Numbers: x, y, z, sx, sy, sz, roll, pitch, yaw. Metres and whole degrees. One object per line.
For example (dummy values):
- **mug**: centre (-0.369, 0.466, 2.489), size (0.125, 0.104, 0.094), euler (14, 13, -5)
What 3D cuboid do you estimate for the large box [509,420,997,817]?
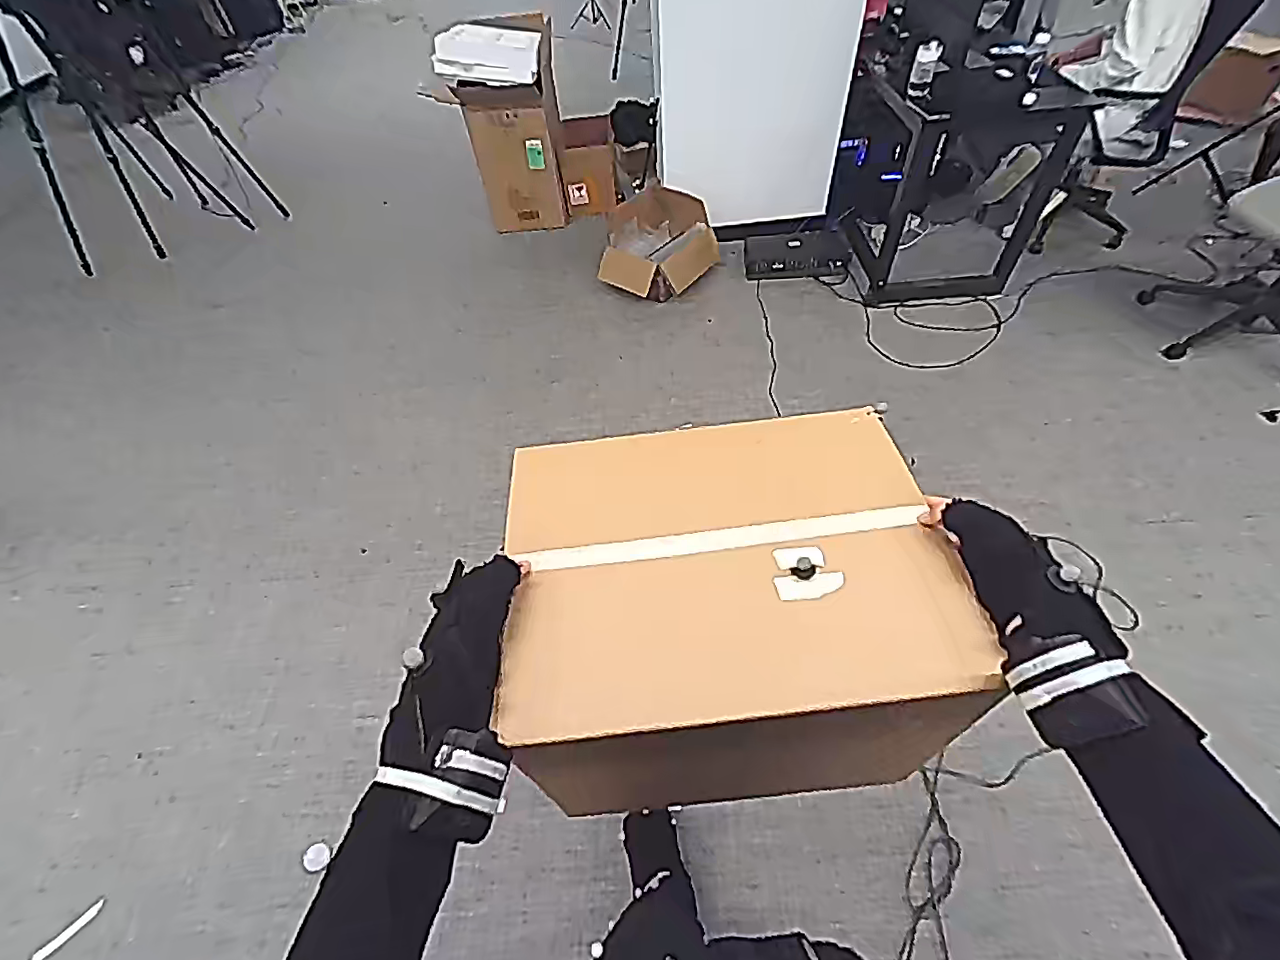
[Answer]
- **large box**: centre (0.087, 0.167, 0.636), size (0.408, 0.320, 0.320), euler (-7, 49, 0)
